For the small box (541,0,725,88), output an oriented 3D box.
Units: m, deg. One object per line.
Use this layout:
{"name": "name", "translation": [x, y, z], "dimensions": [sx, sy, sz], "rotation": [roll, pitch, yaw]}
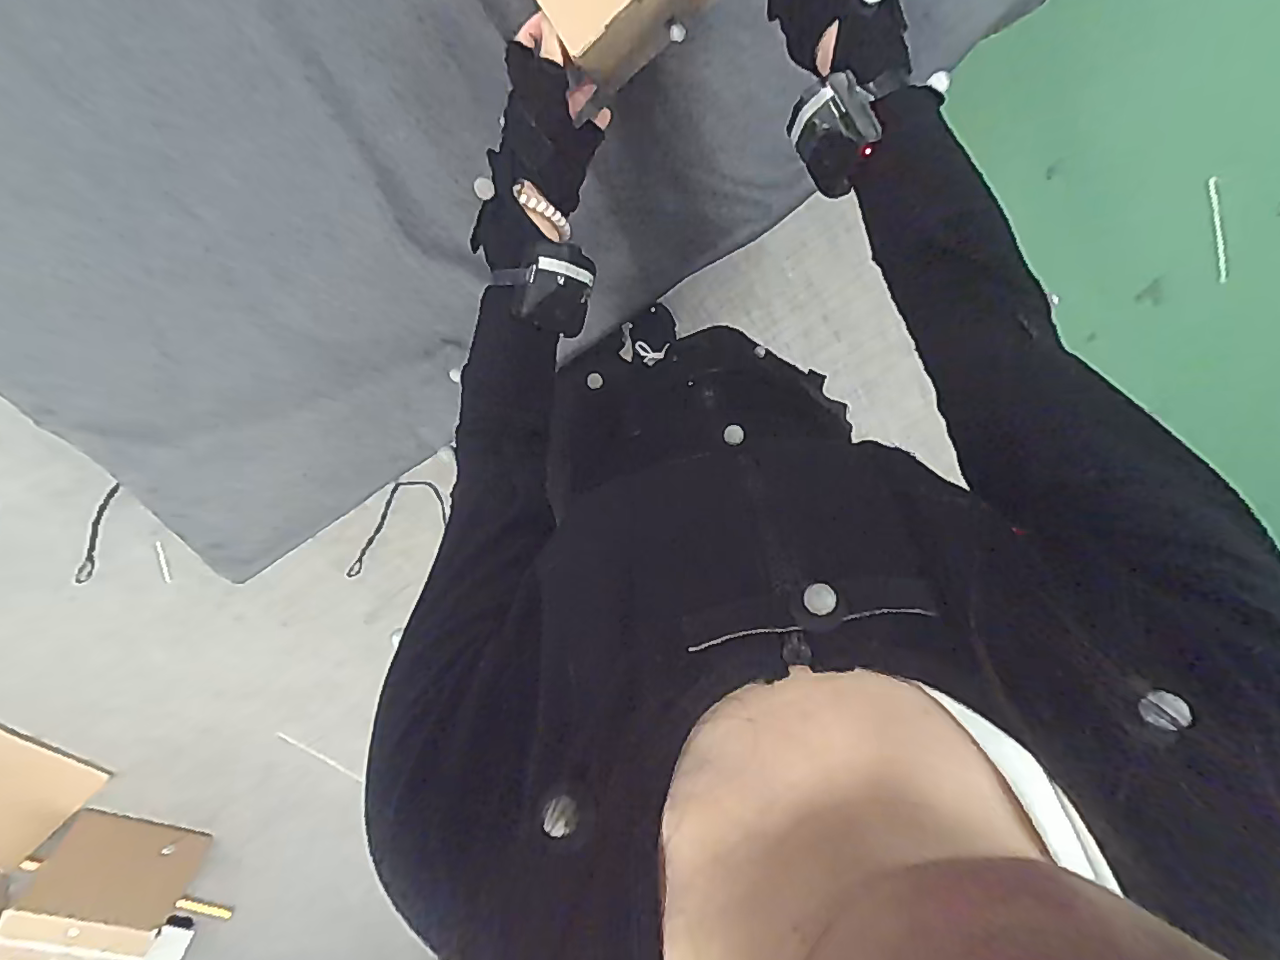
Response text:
{"name": "small box", "translation": [-0.021, -0.453, 0.419], "dimensions": [0.168, 0.176, 0.179], "rotation": [-30, 109, 21]}
